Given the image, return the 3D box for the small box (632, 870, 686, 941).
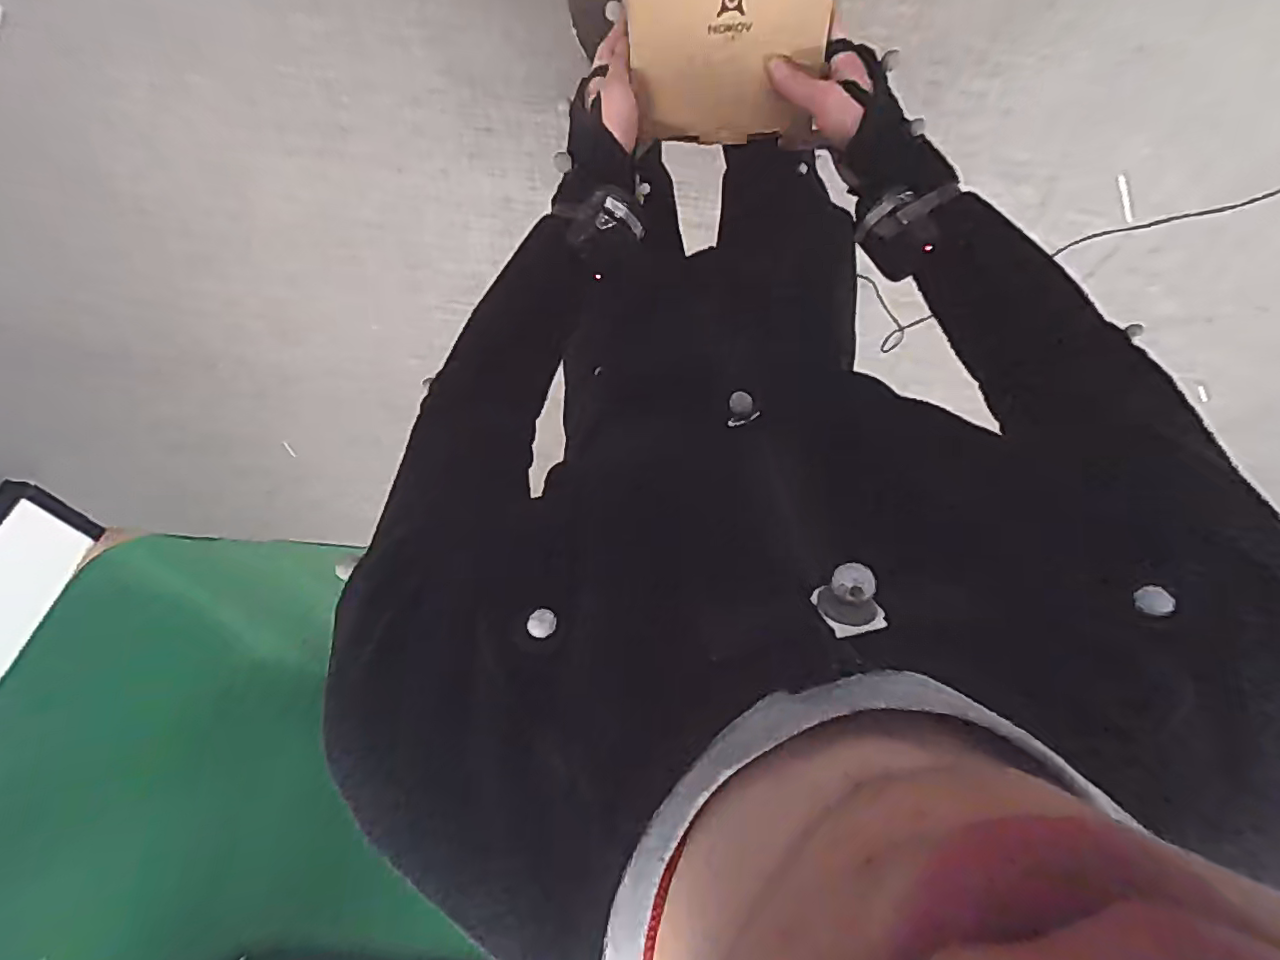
[{"bbox_3d":[0.067,1.417,1.812,0.168,0.176,0.179,1,147,7],"label":"small box"}]
